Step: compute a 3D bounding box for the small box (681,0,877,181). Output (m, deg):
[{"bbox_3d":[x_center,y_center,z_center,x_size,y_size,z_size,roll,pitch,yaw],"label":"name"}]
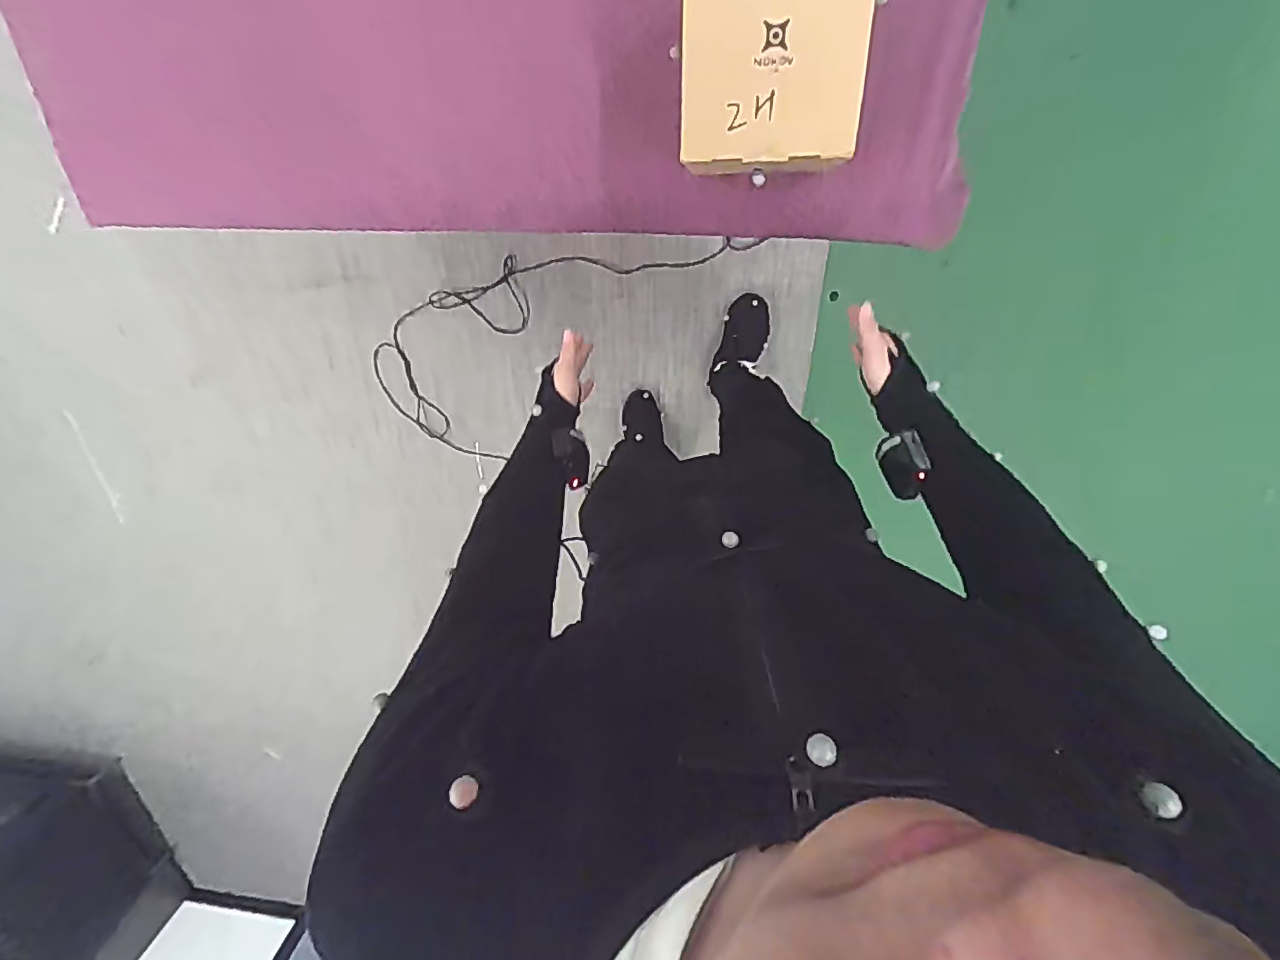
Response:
[{"bbox_3d":[0.132,-0.413,0.559,0.168,0.176,0.179,4,118,8],"label":"small box"}]
